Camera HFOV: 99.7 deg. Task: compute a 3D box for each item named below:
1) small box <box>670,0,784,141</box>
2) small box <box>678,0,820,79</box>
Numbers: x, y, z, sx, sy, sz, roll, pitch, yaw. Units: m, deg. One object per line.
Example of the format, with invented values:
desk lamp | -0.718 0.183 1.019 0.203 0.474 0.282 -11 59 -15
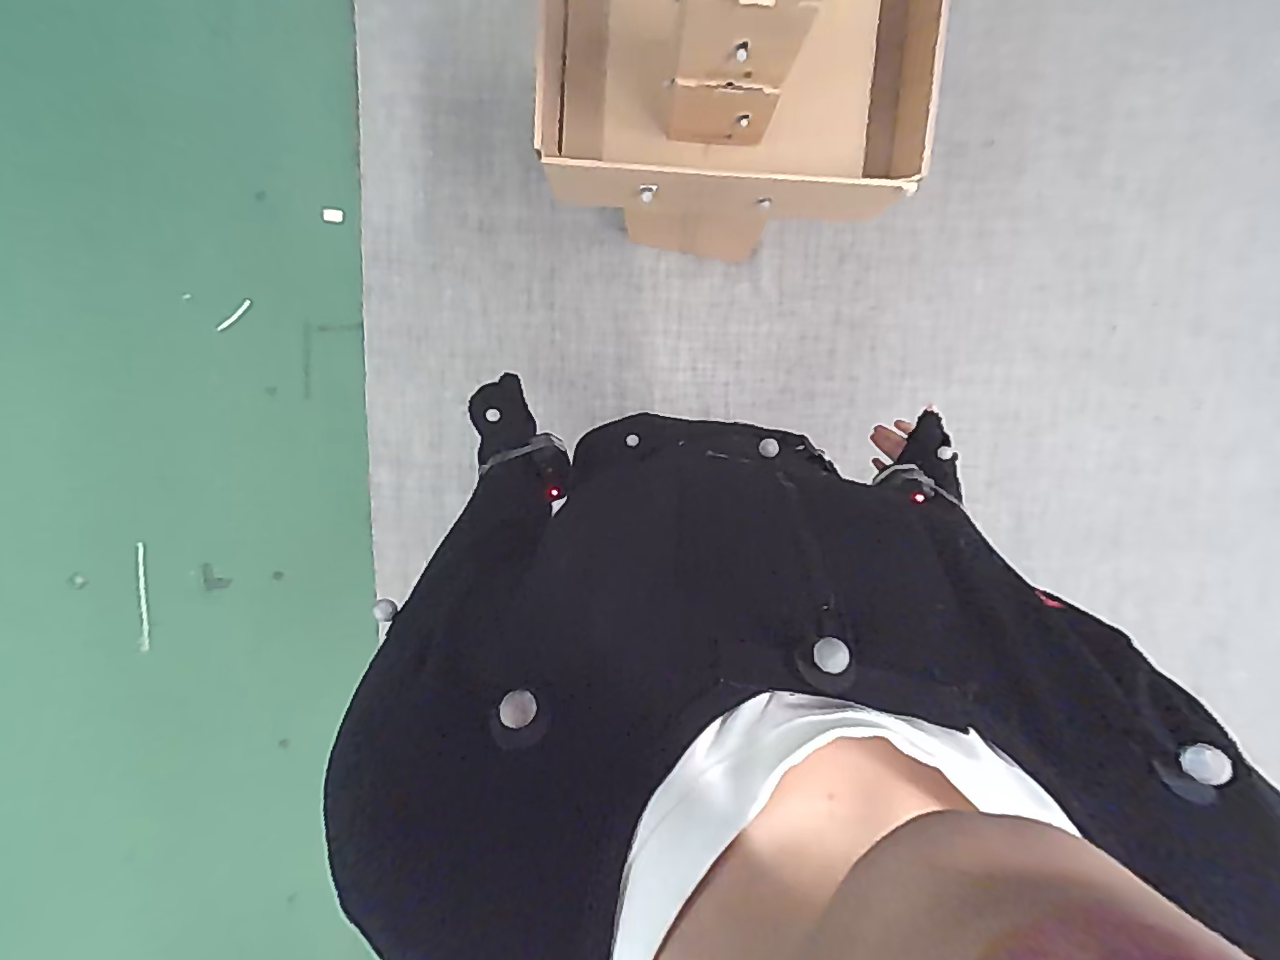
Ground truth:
small box | 0.138 -0.684 0.880 0.168 0.176 0.179 3 95 -1
small box | 0.142 -0.673 0.716 0.168 0.176 0.179 3 98 -2
